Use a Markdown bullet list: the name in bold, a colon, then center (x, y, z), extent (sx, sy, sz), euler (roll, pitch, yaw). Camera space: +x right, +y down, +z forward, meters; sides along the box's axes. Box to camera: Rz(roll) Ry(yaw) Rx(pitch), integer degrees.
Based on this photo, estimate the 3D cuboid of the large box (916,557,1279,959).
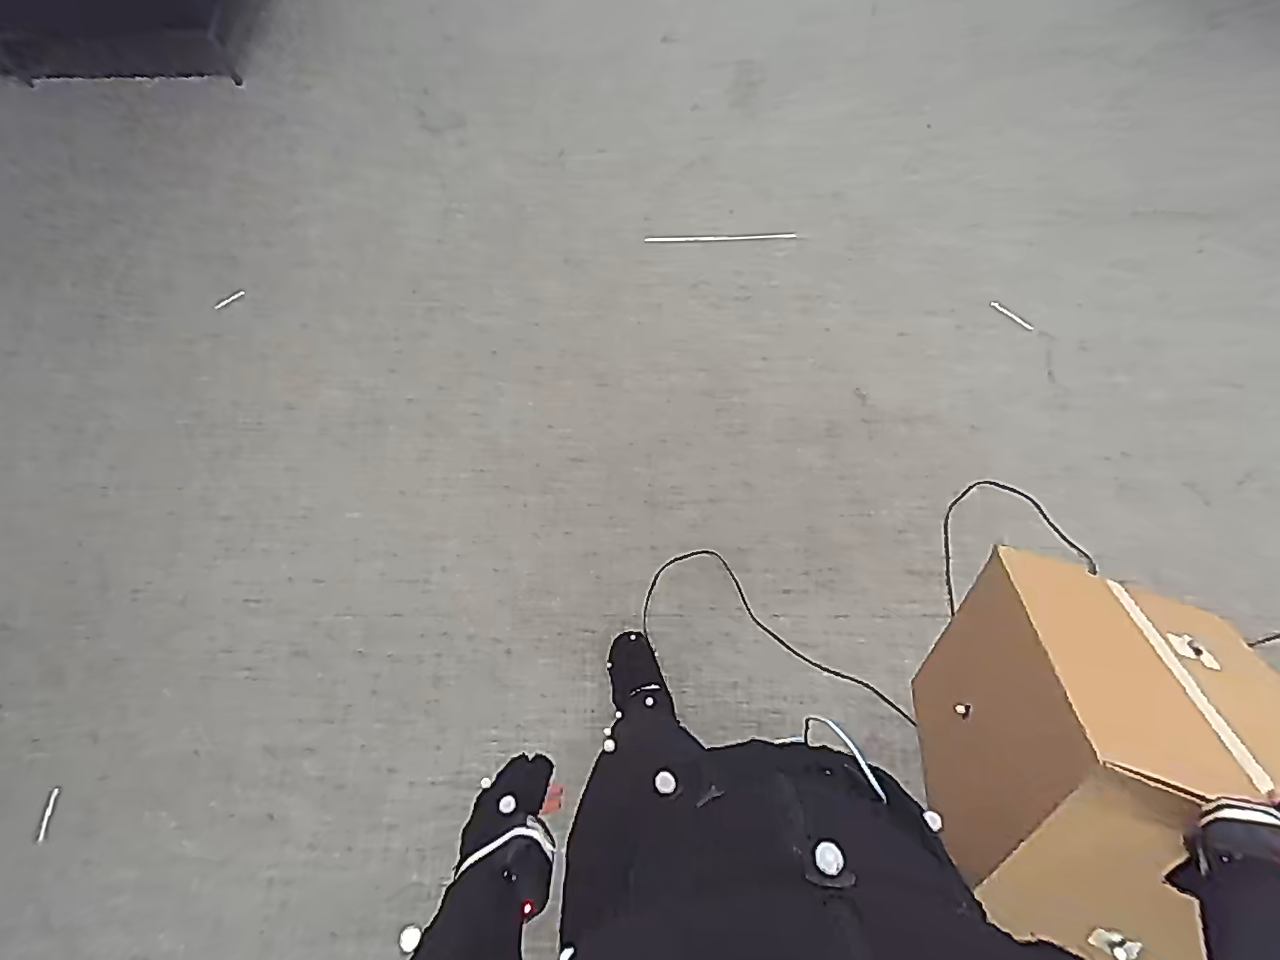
- **large box**: center (0.603, 0.372, 0.711), extent (0.320, 0.320, 0.408), euler (20, 28, 11)
